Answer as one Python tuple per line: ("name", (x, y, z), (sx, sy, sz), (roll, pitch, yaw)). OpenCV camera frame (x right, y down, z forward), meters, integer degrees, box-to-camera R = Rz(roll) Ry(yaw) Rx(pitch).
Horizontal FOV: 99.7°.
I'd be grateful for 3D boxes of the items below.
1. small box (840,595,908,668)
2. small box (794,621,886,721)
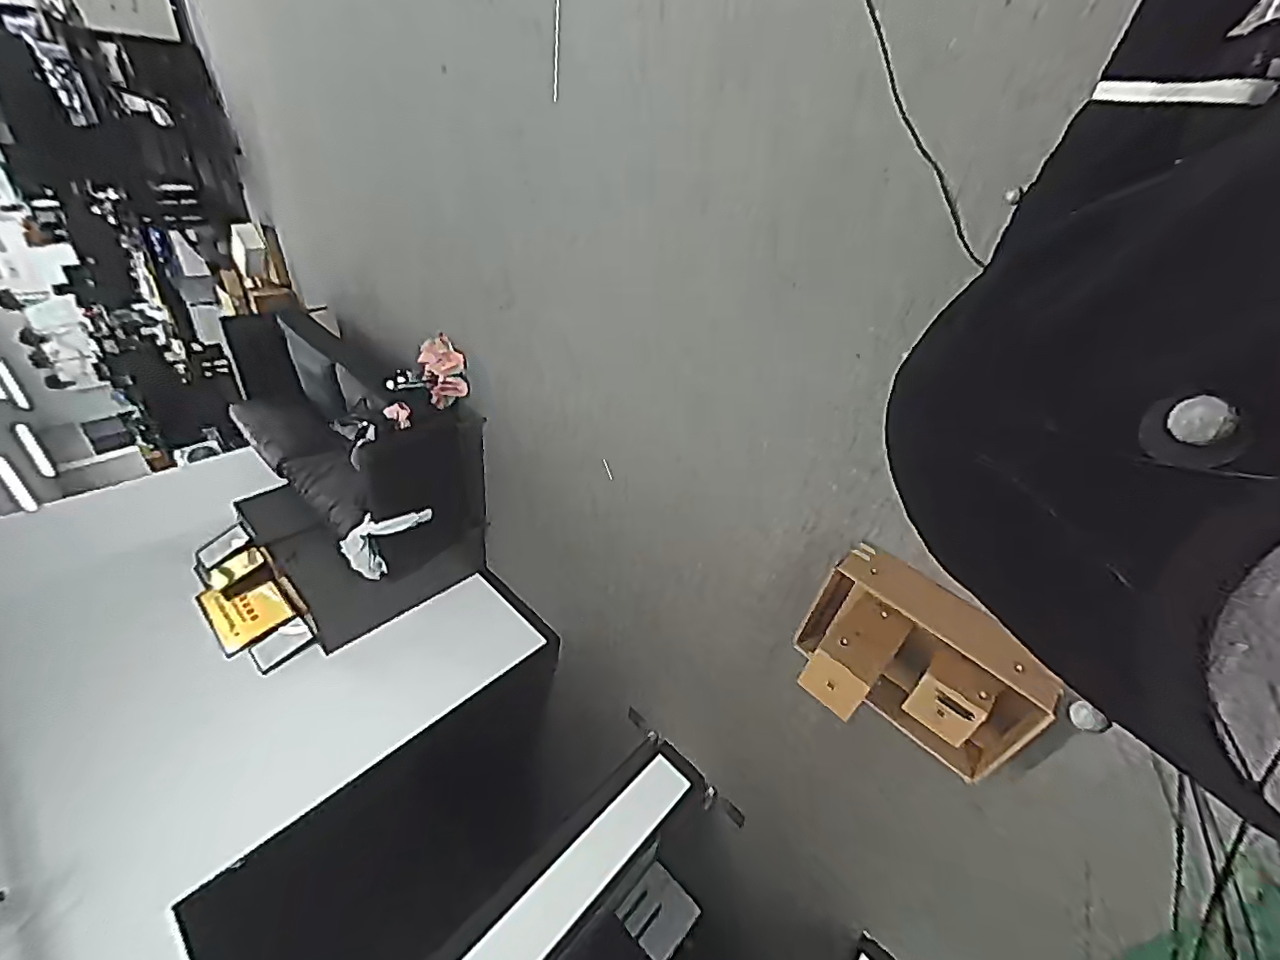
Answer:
("small box", (0.692, 0.493, 1.665), (0.168, 0.176, 0.179), (35, 132, 27))
("small box", (0.580, 0.544, 1.559), (0.168, 0.176, 0.179), (37, 133, 28))
